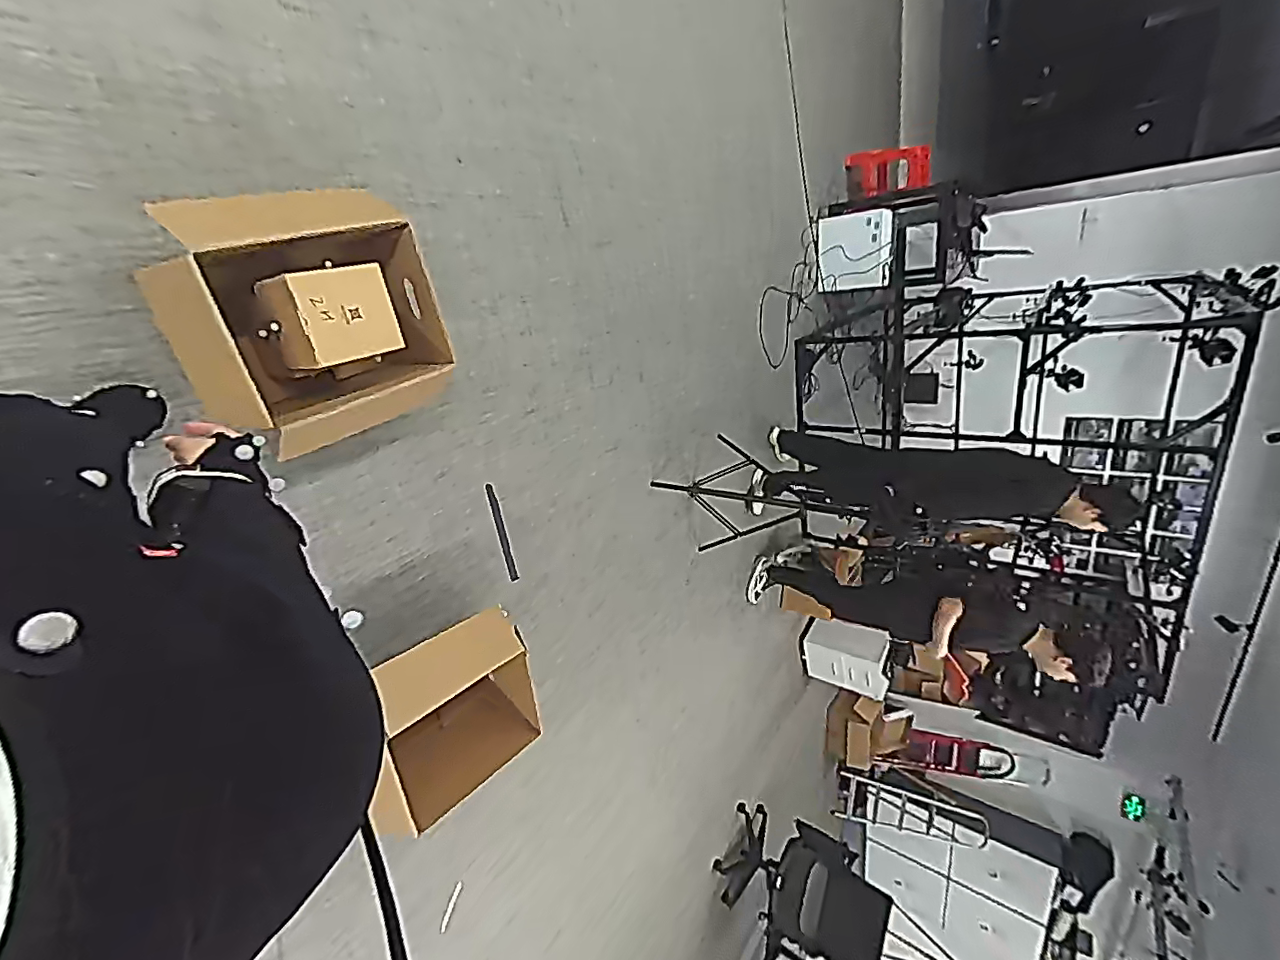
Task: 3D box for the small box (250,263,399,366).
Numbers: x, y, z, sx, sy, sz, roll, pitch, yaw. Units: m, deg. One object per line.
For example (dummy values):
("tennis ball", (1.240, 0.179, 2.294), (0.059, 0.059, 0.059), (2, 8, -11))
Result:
("small box", (-0.618, -0.325, 1.064), (0.179, 0.176, 0.168), (-33, 121, -44))
